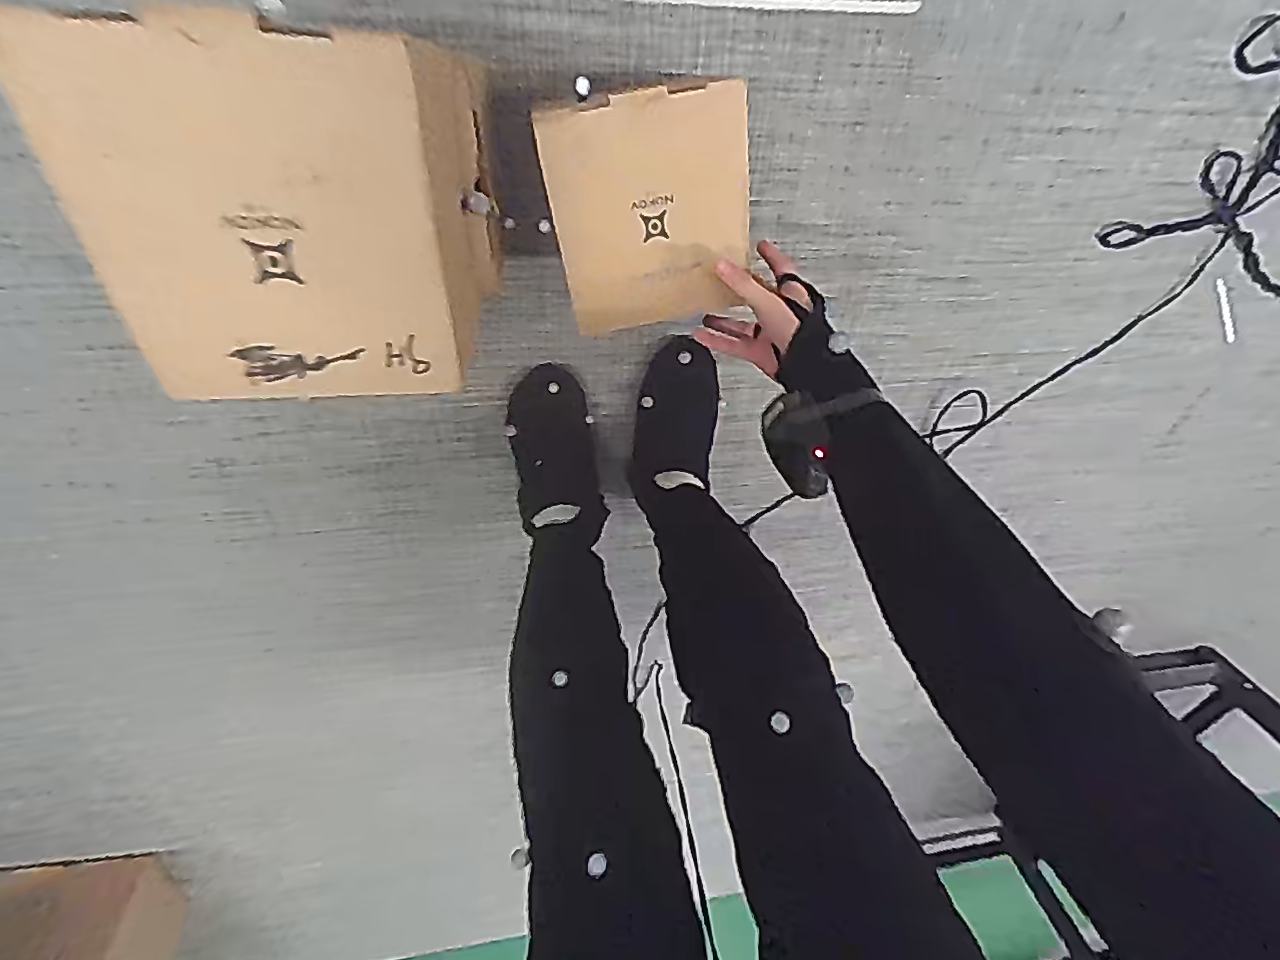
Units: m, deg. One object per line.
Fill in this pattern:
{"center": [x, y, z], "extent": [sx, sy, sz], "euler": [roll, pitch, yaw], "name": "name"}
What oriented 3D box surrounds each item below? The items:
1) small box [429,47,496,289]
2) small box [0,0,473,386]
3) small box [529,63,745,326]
{"center": [-0.221, -0.271, 0.464], "extent": [0.179, 0.176, 0.168], "euler": [-4, 126, -8], "name": "small box"}
{"center": [-0.202, -0.173, 0.334], "extent": [0.168, 0.176, 0.179], "euler": [-3, 125, -9], "name": "small box"}
{"center": [-0.005, -0.270, 0.509], "extent": [0.168, 0.176, 0.179], "euler": [-11, 128, -2], "name": "small box"}
